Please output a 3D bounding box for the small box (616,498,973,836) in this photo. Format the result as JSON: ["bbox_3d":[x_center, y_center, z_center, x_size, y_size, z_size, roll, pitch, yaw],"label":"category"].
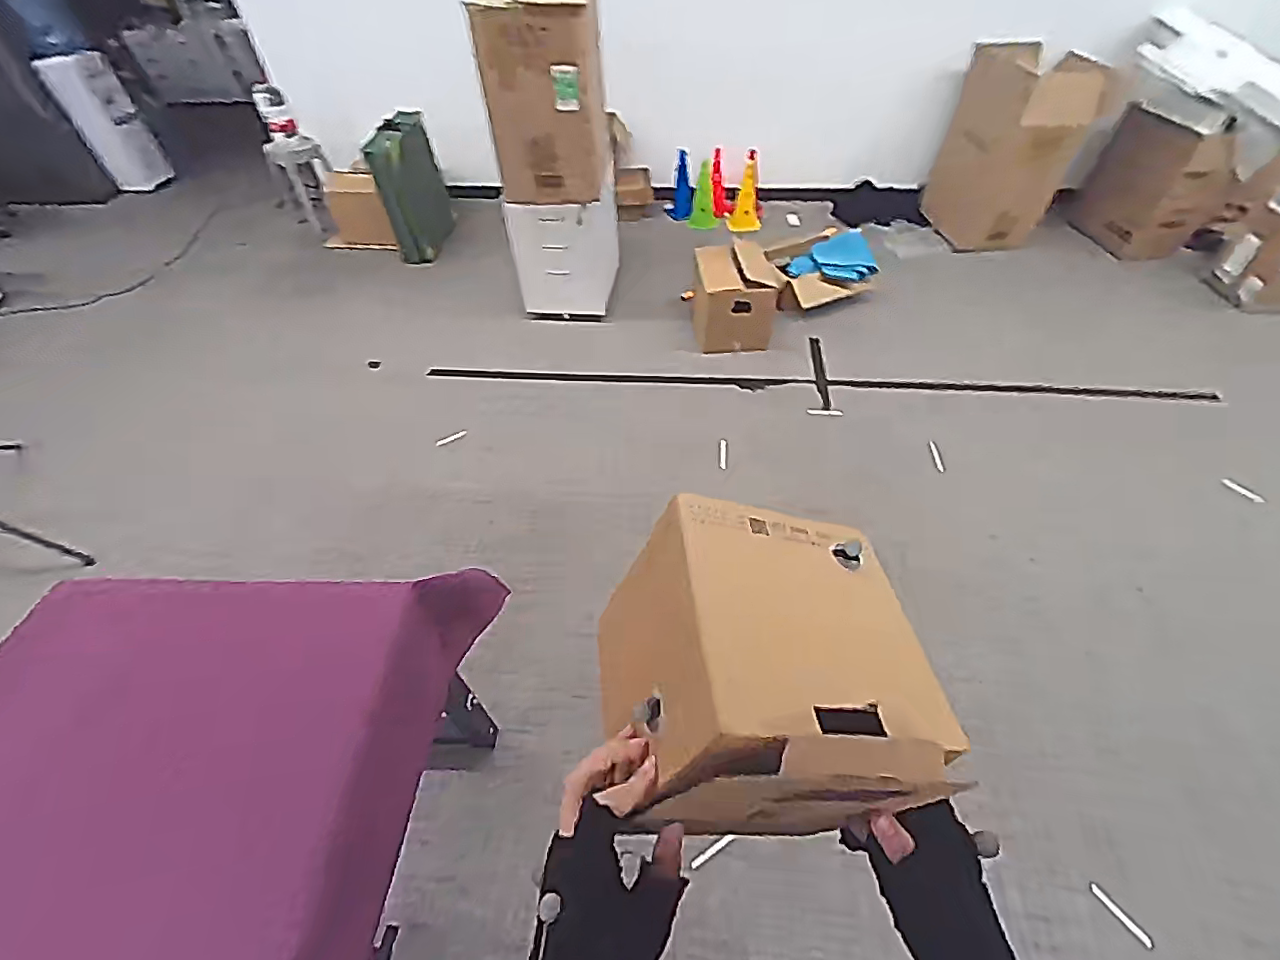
[{"bbox_3d":[0.083,0.138,0.398,0.168,0.179,0.176,14,40,-16],"label":"small box"}]
